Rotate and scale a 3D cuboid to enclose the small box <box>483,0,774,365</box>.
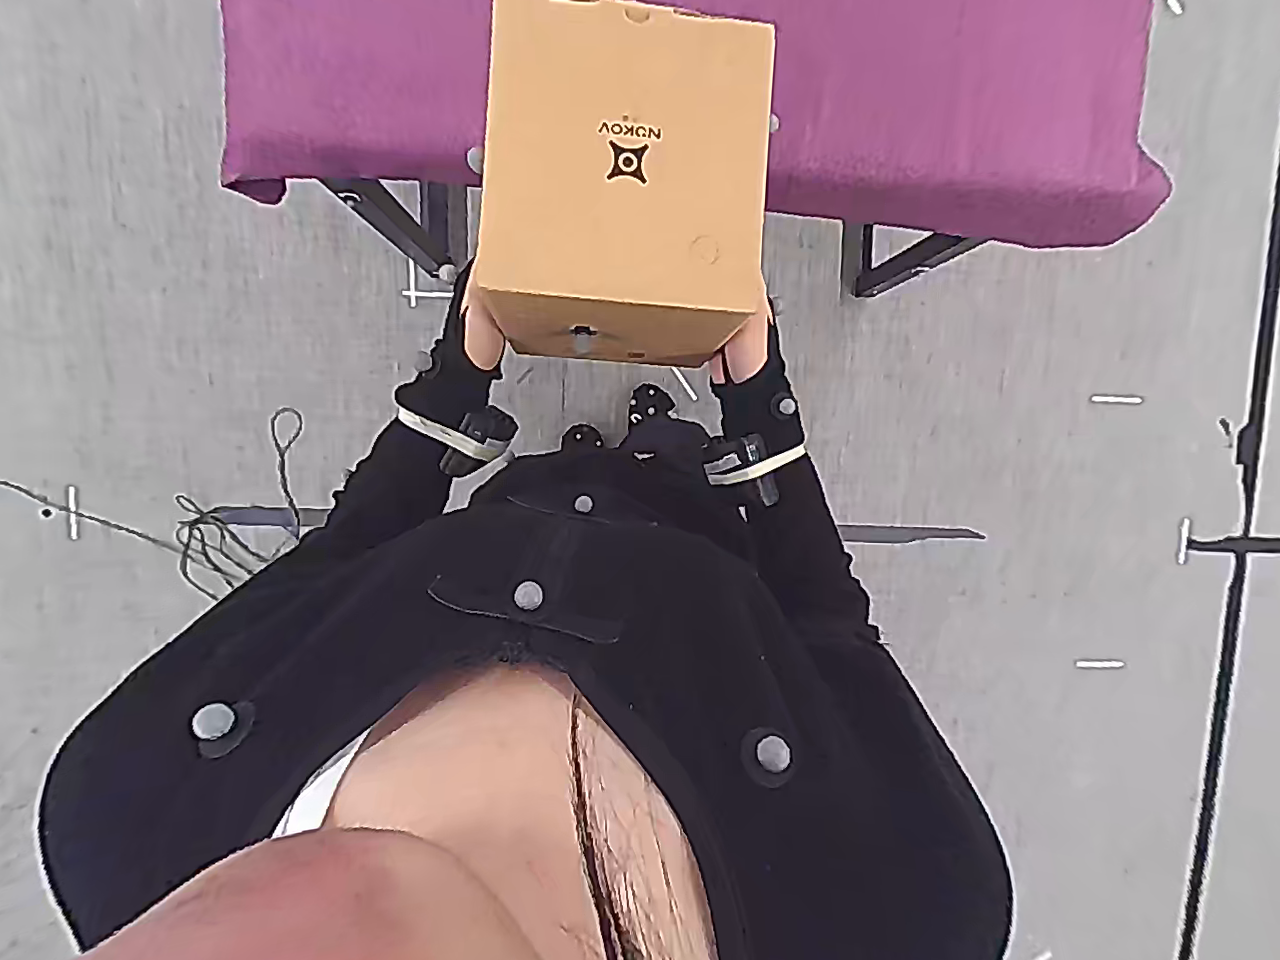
[{"bbox_3d":[-0.011,-0.191,0.400,0.168,0.176,0.179,3,89,-5],"label":"small box"}]
